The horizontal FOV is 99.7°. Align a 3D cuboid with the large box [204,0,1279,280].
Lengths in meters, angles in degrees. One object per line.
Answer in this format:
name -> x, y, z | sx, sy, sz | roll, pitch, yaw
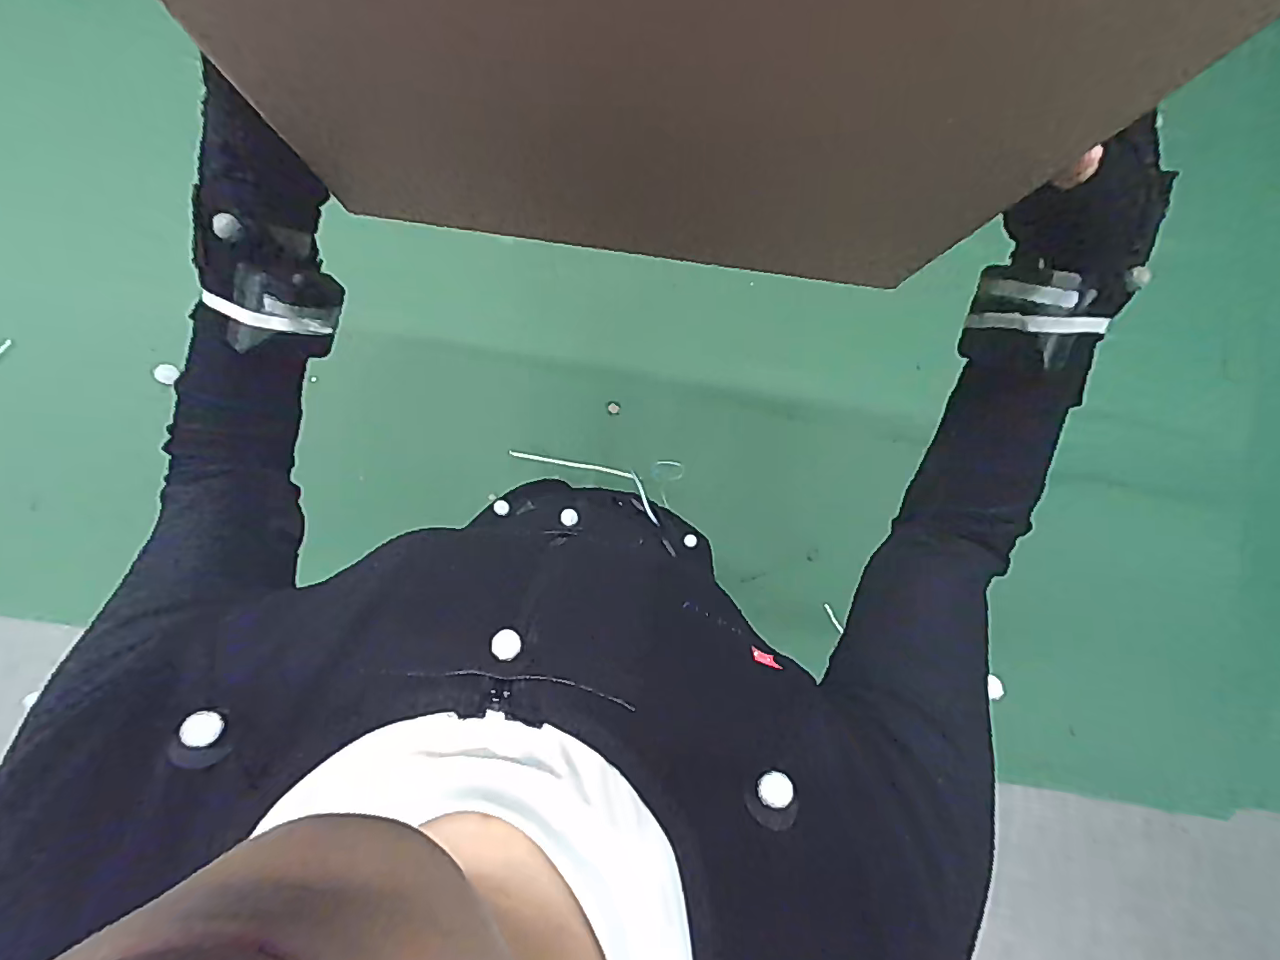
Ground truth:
large box -> 0.027, -0.324, 0.254 | 0.408, 0.320, 0.320 | 7, 89, -5
